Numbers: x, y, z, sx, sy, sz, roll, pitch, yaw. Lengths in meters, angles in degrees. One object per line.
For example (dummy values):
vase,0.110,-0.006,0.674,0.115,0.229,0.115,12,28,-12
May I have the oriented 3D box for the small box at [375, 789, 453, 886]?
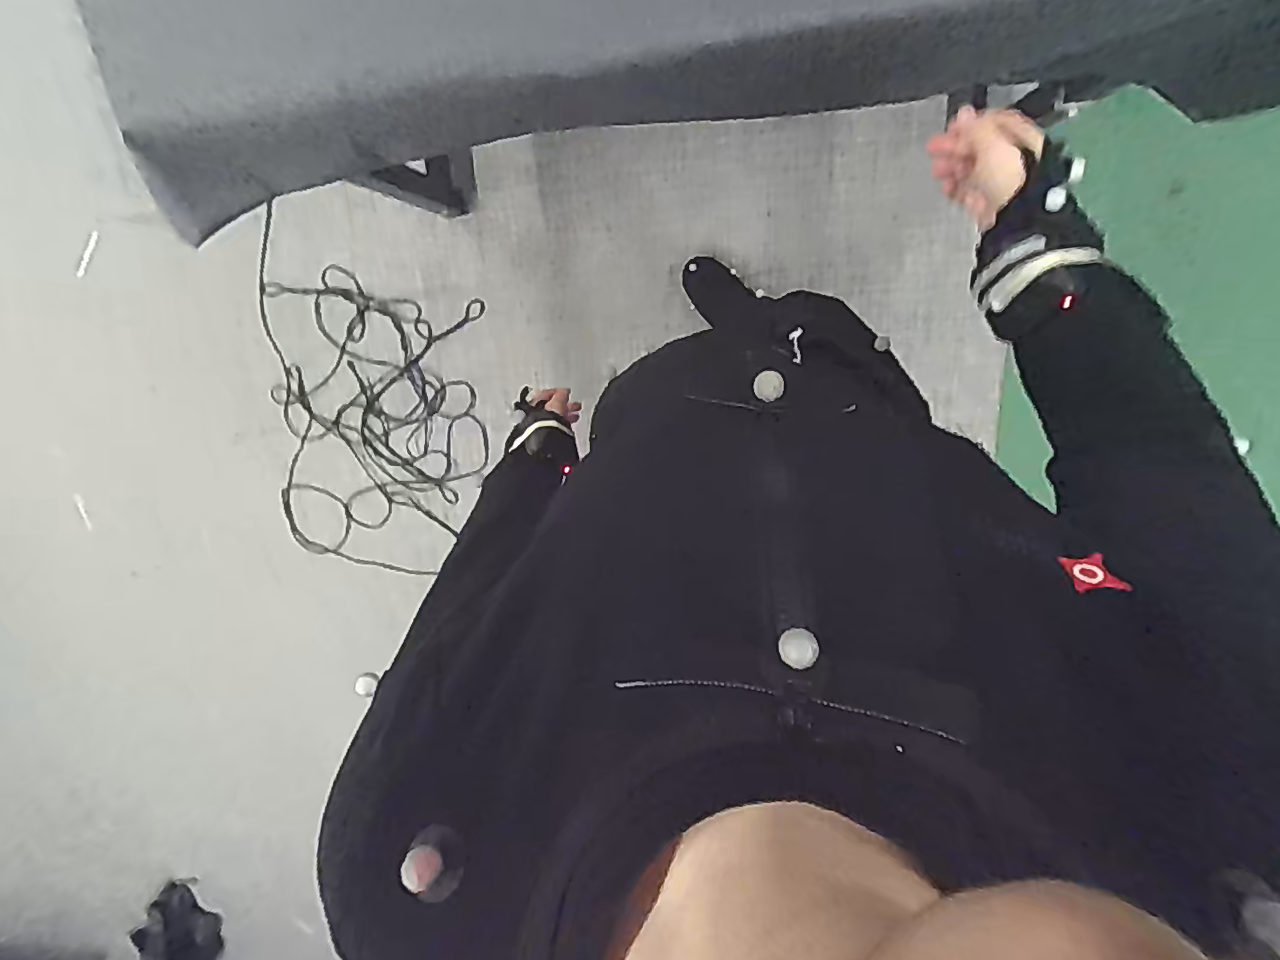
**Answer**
small box,-0.725,1.152,1.749,0.168,0.176,0.179,17,108,2
